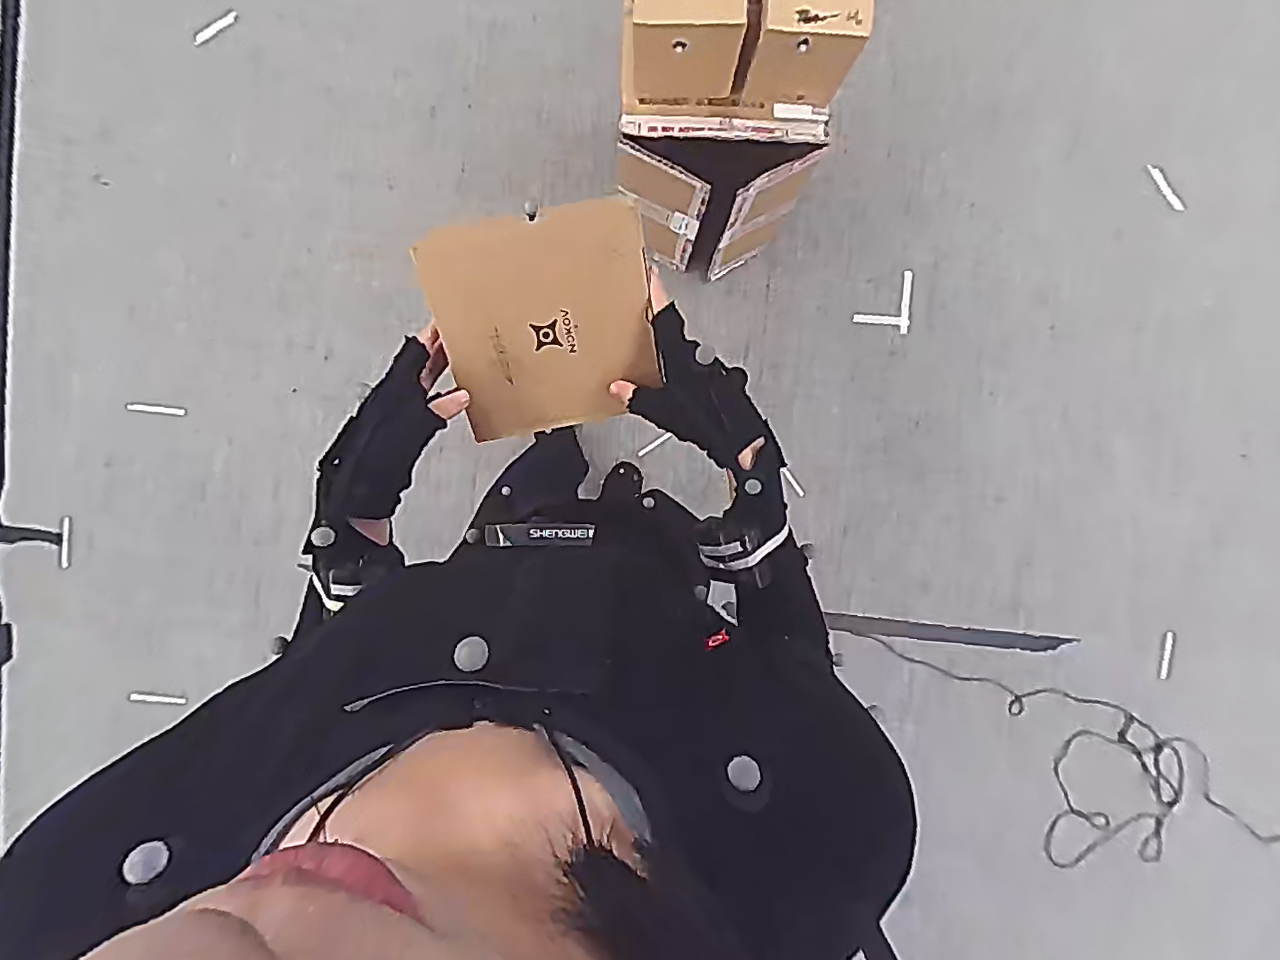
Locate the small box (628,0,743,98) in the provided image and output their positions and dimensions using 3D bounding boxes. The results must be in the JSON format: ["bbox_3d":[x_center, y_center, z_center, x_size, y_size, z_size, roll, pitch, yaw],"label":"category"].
[{"bbox_3d":[0.069,-0.771,0.899,0.179,0.176,0.168,-1,92,-1],"label":"small box"}]

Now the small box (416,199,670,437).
[{"bbox_3d":[-0.080,-0.160,0.508,0.179,0.176,0.168,-11,118,-1],"label":"small box"}]

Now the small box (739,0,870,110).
[{"bbox_3d":[0.267,-0.769,0.906,0.168,0.176,0.179,2,91,-4],"label":"small box"}]
